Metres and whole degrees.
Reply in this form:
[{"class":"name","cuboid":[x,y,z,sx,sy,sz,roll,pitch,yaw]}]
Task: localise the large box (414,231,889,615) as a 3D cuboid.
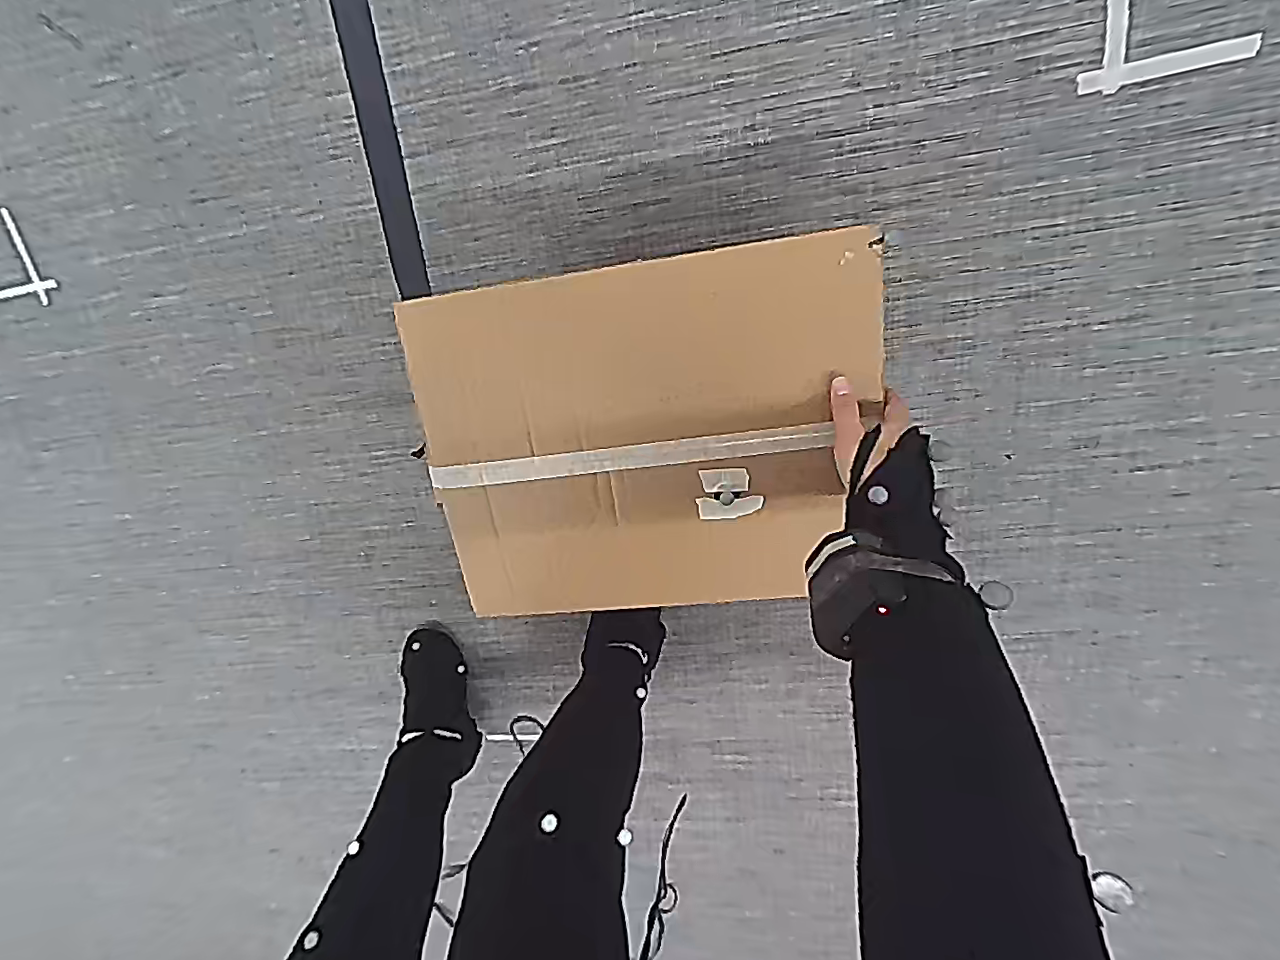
[{"class":"large box","cuboid":[0.029,-0.070,0.630,0.408,0.320,0.320,-6,107,8]}]
